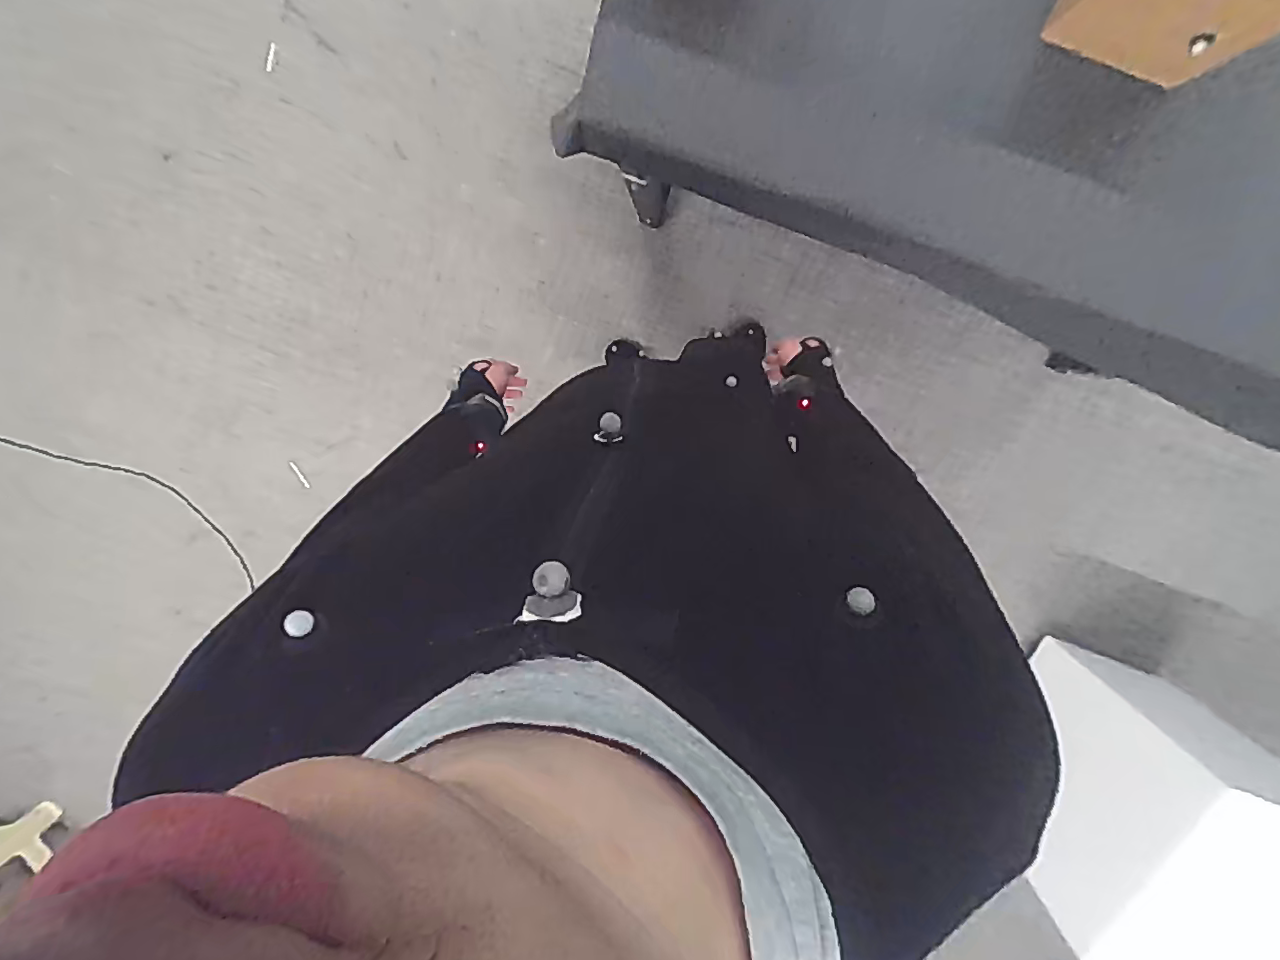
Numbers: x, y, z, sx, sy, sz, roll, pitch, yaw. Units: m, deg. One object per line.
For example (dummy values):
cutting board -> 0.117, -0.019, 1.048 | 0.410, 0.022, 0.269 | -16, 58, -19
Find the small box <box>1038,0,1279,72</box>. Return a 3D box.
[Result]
small box -> 0.577, -0.568, 0.558 | 0.179, 0.176, 0.168 | 19, 103, -2
